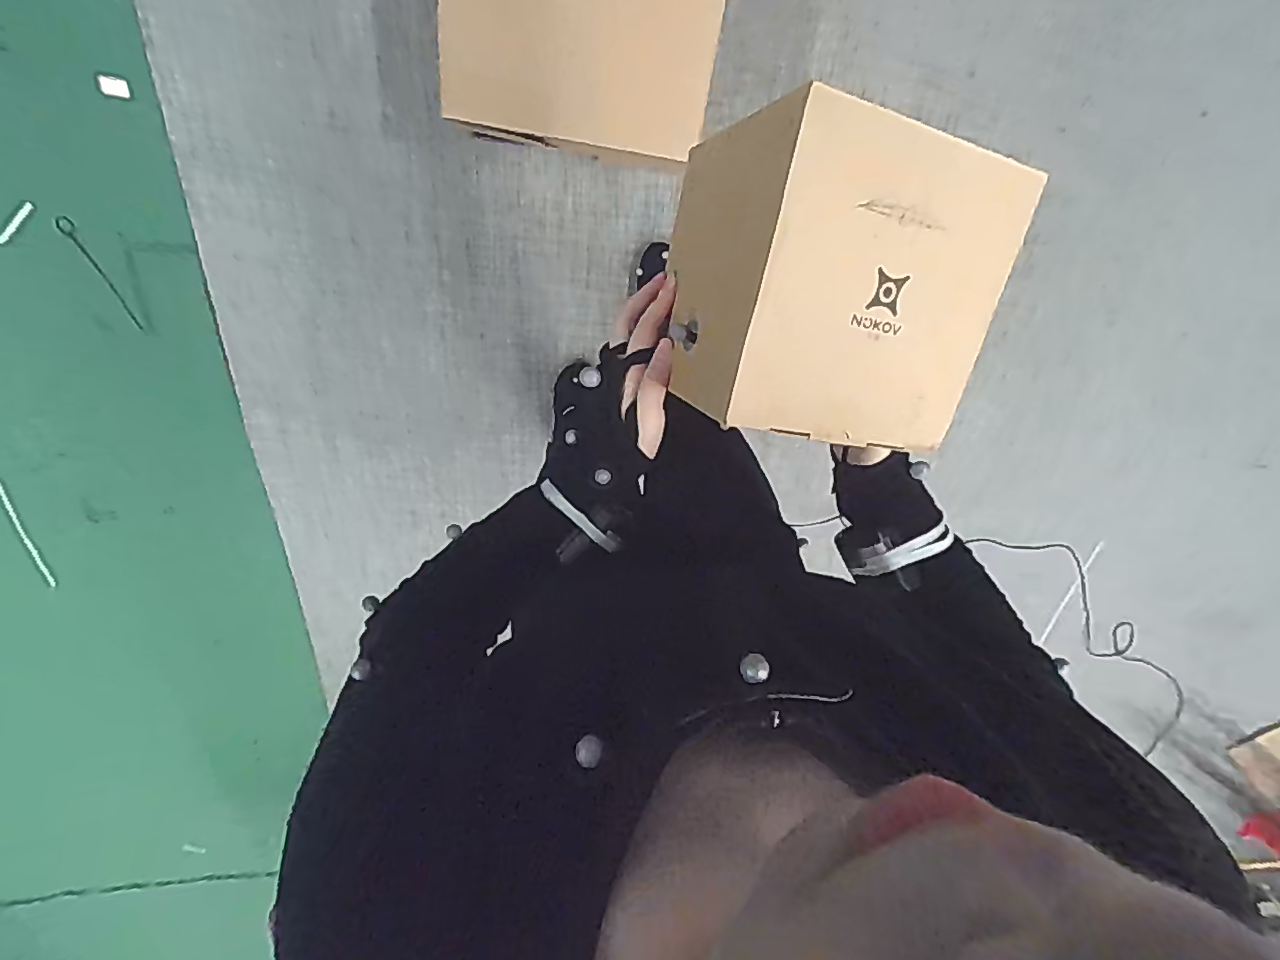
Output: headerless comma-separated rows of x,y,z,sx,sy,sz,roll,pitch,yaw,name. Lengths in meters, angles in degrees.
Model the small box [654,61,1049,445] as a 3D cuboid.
0.119,-0.140,0.380,0.168,0.176,0.179,6,109,-19,small box
